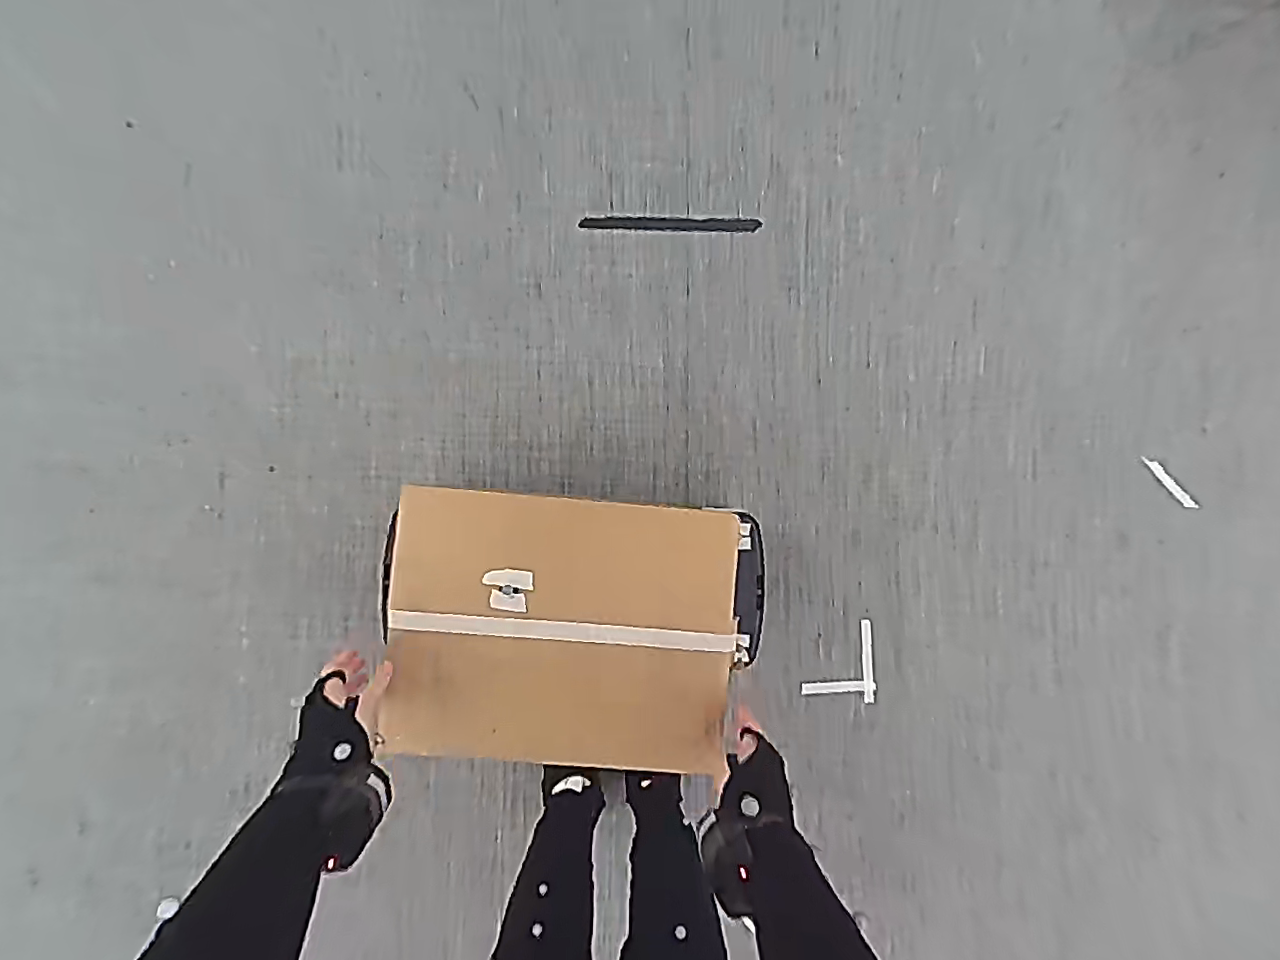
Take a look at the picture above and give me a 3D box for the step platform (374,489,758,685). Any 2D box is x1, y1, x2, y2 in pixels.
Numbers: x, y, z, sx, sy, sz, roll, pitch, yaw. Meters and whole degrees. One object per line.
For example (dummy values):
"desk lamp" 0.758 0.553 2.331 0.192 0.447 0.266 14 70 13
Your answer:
"step platform" -0.125 0.193 1.020 0.684 0.204 0.286 7 87 -1

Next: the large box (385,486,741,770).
"large box" -0.089 0.180 0.783 0.408 0.320 0.320 5 86 -1
